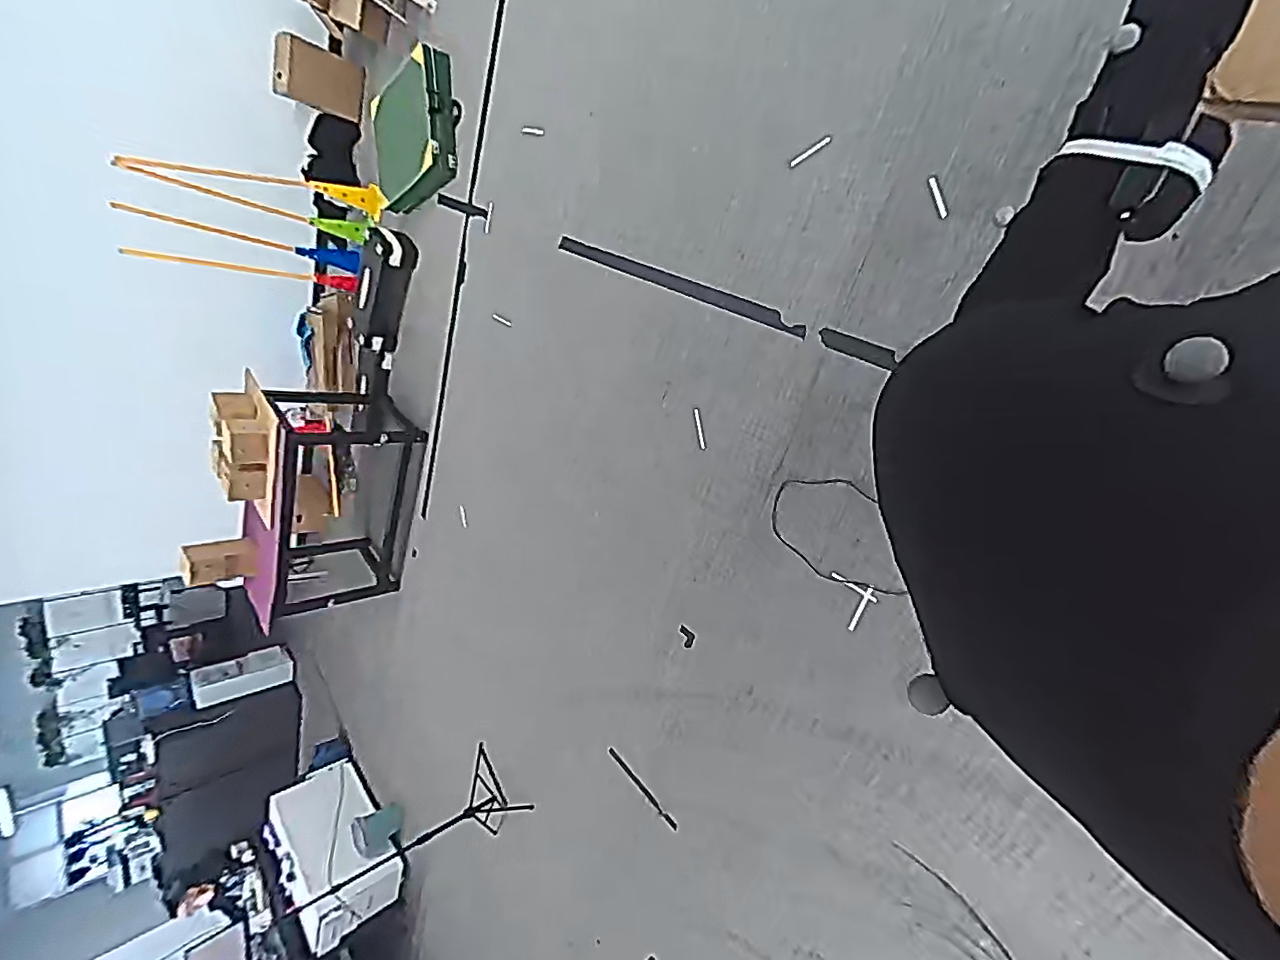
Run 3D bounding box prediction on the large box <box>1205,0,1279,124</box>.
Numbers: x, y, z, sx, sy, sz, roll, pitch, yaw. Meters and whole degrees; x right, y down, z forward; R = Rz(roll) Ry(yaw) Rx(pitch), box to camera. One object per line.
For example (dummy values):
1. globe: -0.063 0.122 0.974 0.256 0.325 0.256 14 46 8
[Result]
1. large box: 0.649 -0.372 0.288 0.408 0.320 0.320 30 133 32
